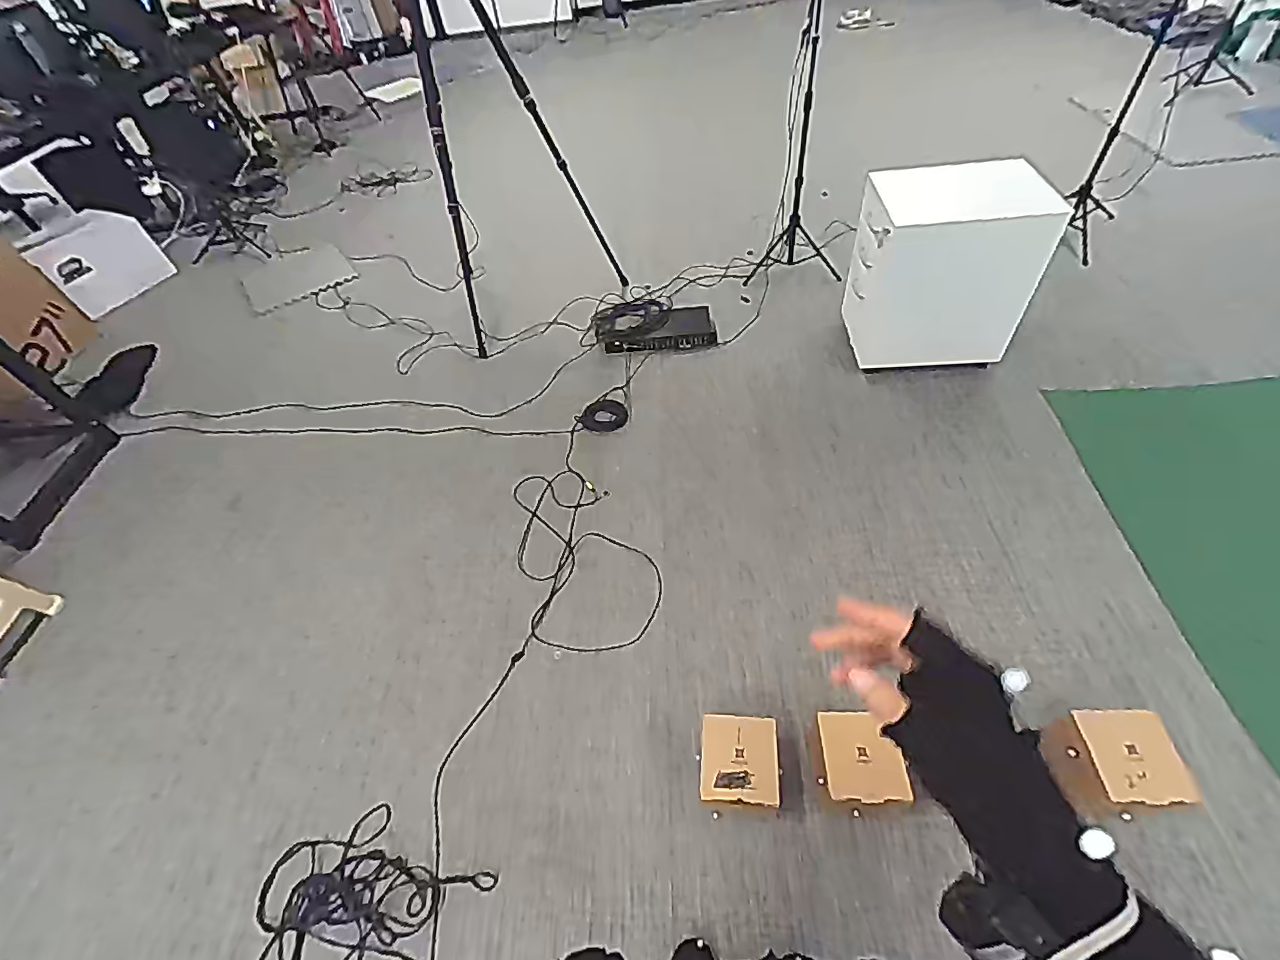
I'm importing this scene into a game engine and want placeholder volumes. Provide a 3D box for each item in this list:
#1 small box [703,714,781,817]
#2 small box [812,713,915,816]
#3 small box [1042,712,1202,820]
[{"bbox_3d":[0.234,0.662,1.247,0.168,0.176,0.179,1,50,9],"label":"small box"},{"bbox_3d":[0.494,0.644,1.223,0.168,0.176,0.179,-3,50,7],"label":"small box"},{"bbox_3d":[1.020,0.617,1.168,0.168,0.176,0.179,-3,51,7],"label":"small box"}]
